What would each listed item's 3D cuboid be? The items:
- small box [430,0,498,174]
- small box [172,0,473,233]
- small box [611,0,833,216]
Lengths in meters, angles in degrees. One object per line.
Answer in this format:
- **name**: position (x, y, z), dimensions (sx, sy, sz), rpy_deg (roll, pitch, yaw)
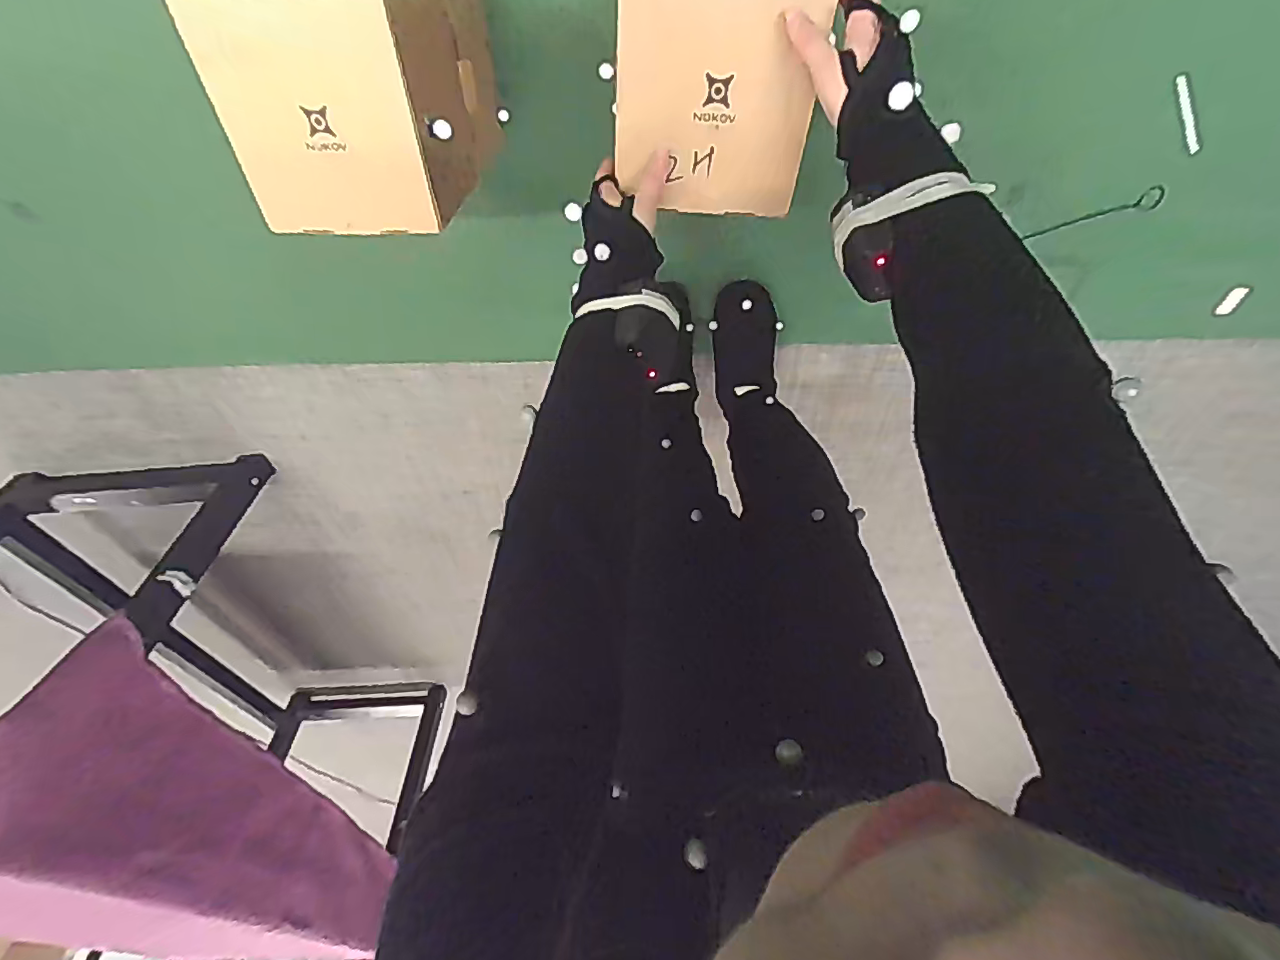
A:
- **small box**: position (-0.274, -0.474, 0.635), dimensions (0.179, 0.176, 0.168), rpy_deg (1, 134, 1)
- **small box**: position (-0.273, -0.358, 0.521), dimensions (0.168, 0.176, 0.179), rpy_deg (0, 135, 0)
- **small box**: position (0.058, -0.371, 0.504), dimensions (0.168, 0.176, 0.179), rpy_deg (2, 135, -2)
